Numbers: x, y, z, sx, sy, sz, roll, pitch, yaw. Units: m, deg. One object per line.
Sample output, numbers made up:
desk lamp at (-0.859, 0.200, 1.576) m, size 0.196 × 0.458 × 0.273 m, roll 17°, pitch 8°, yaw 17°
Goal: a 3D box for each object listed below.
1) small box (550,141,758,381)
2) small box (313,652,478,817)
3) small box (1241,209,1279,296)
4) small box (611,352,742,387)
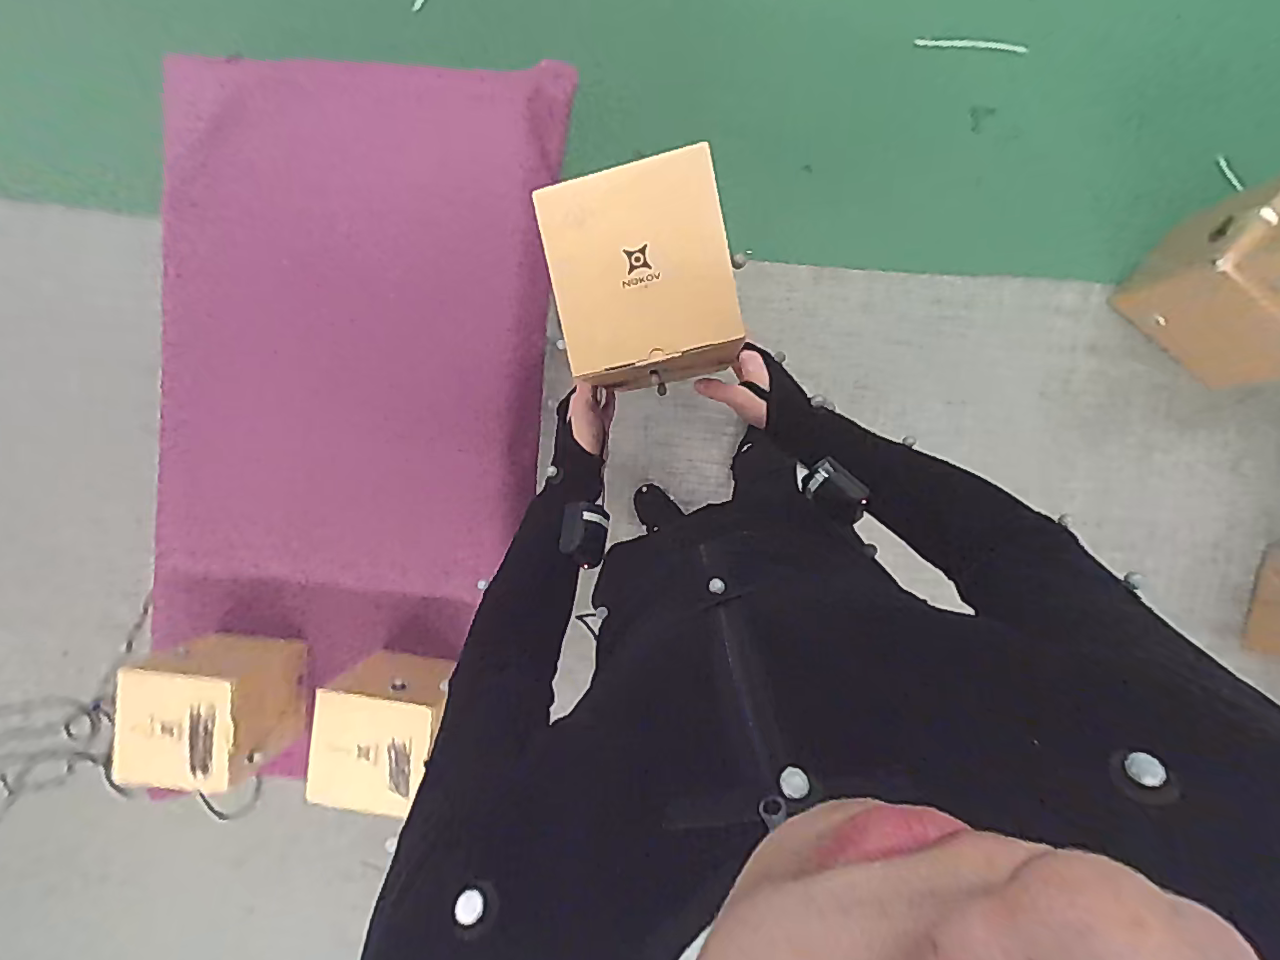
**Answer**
small box at (0.019, -0.208, 0.567) m, size 0.168 × 0.176 × 0.179 m, roll -11°, pitch 97°, yaw 7°
small box at (-0.369, 0.384, 0.845) m, size 0.179 × 0.176 × 0.168 m, roll 7°, pitch 92°, yaw 4°
small box at (1.482, -0.524, 1.157) m, size 0.168 × 0.176 × 0.179 m, roll 40°, pitch 95°, yaw 0°
small box at (0.036, -0.227, 0.728) m, size 0.168 × 0.176 × 0.179 m, roll -10°, pitch 97°, yaw 7°
